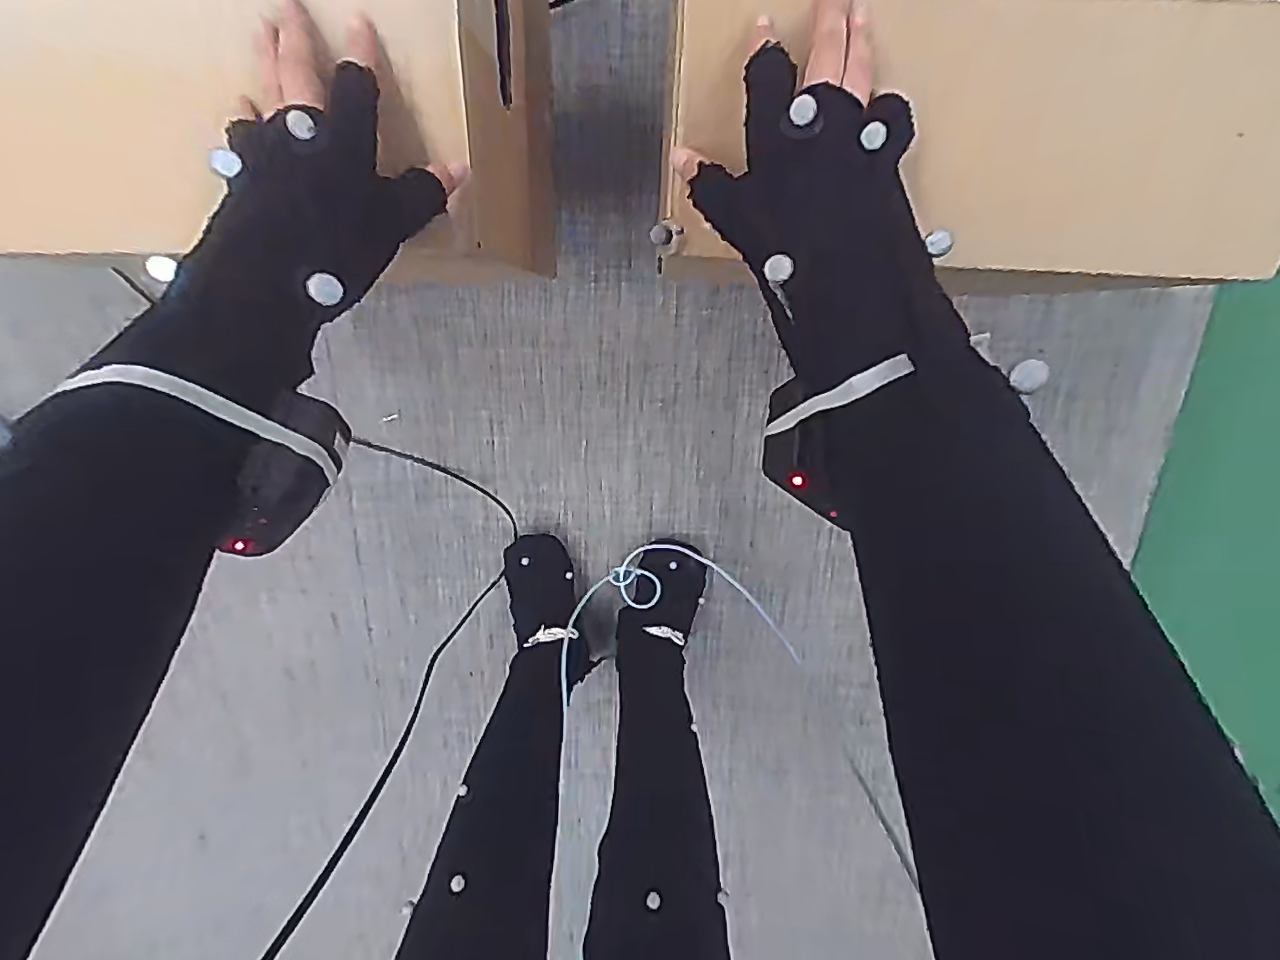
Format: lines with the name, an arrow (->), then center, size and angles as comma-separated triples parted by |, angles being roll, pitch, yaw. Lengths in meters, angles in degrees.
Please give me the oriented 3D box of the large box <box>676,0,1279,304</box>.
large box -> 0.244, -0.329, 0.485 | 0.408, 0.320, 0.320 | 4, 107, 1
